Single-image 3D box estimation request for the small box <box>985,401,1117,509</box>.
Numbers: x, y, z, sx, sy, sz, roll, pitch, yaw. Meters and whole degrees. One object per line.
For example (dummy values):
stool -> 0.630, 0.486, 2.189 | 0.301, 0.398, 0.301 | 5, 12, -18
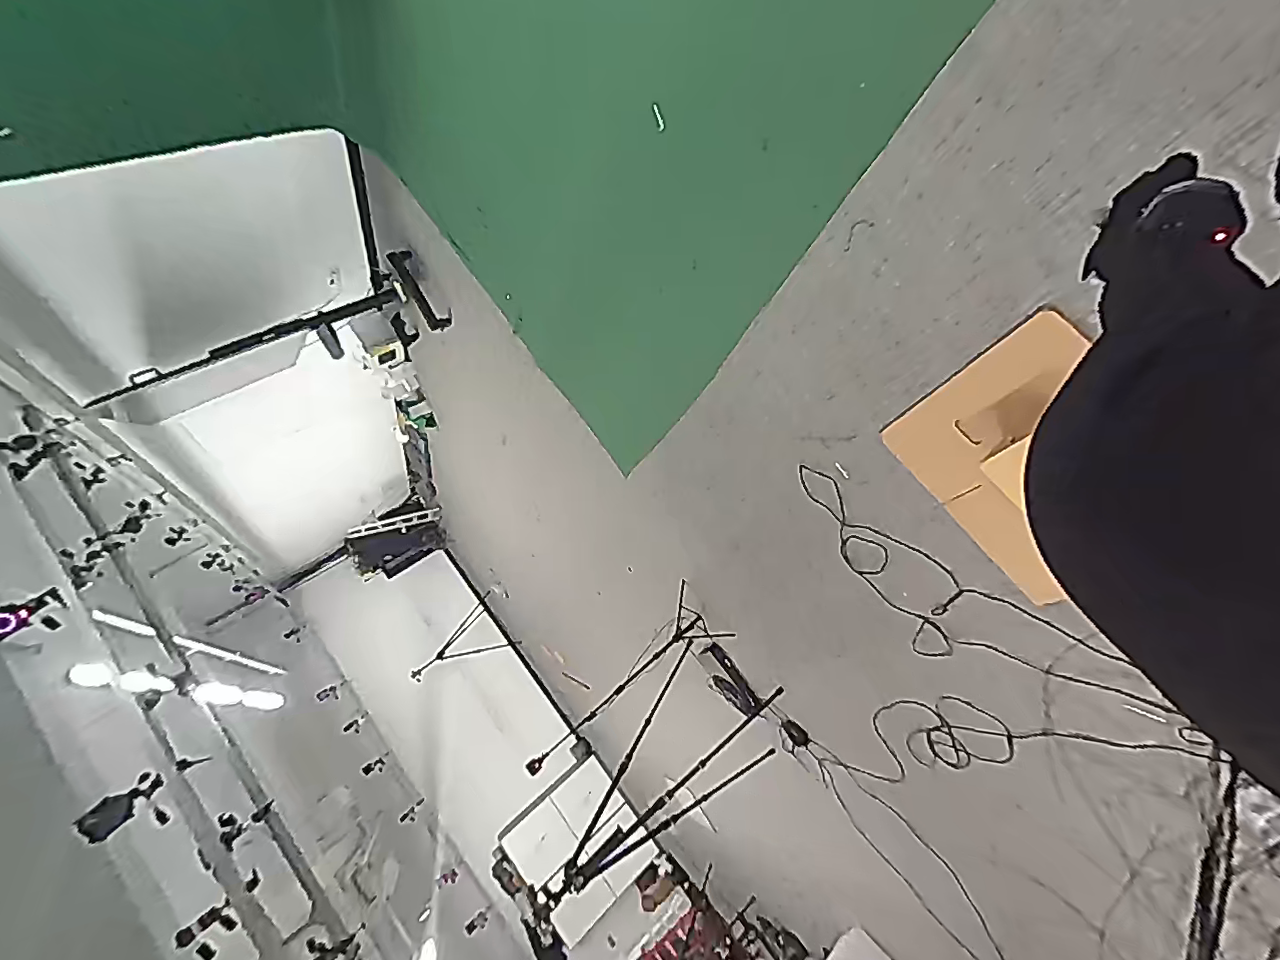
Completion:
small box -> 1.013, -0.063, 1.333 | 0.168, 0.176, 0.179 | 50, 150, 12
